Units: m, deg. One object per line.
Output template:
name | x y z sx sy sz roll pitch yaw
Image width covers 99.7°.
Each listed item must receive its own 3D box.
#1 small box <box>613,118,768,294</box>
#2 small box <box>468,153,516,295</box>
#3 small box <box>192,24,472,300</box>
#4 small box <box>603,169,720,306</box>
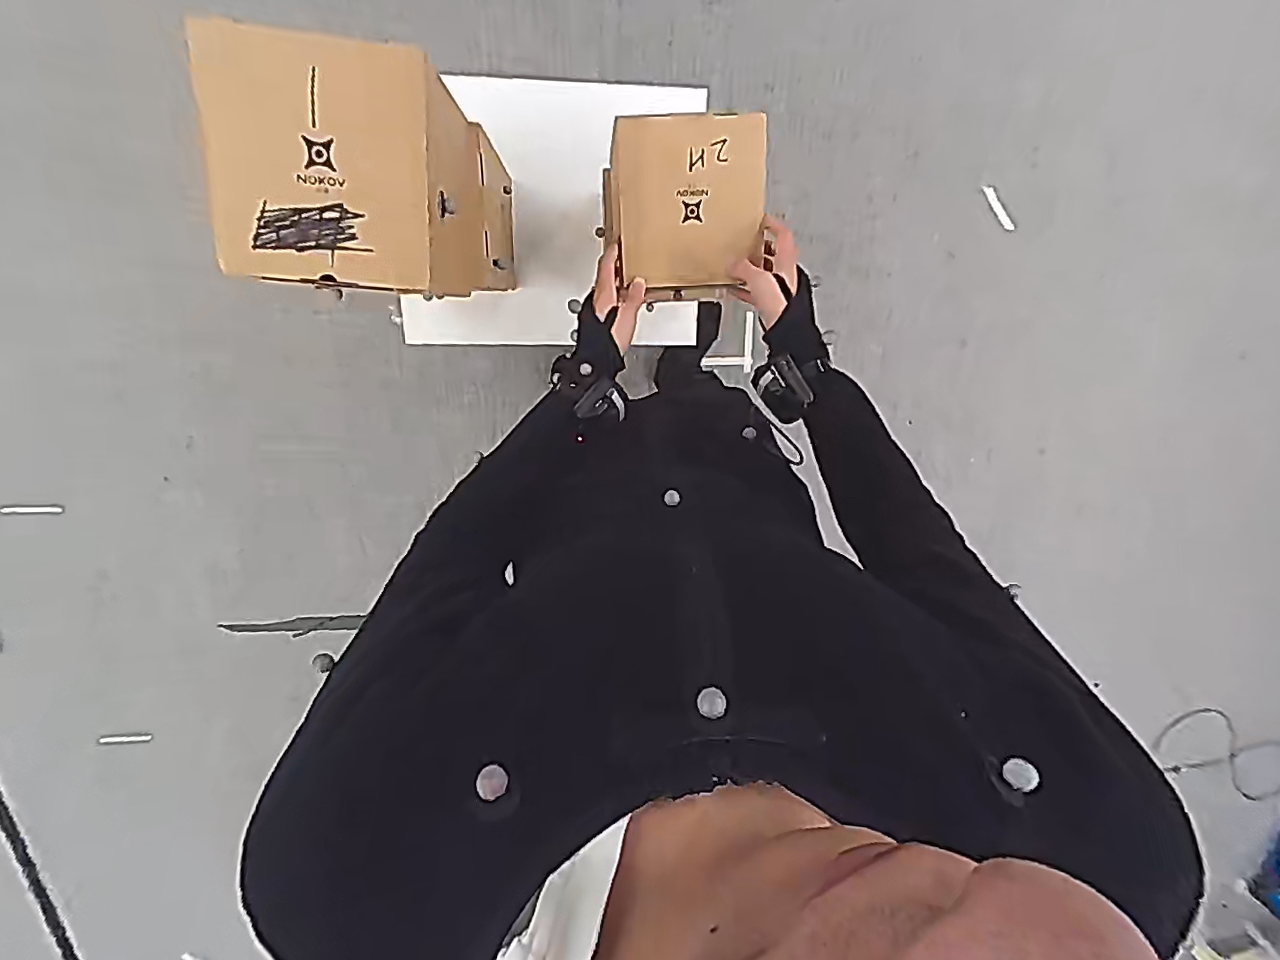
small box | 0.052 -0.328 0.677 0.168 0.176 0.179 -3 108 -4
small box | -0.278 -0.371 0.805 0.168 0.176 0.179 -1 108 -6
small box | -0.253 -0.263 0.495 0.168 0.176 0.179 3 107 -7
small box | 0.028 -0.364 0.837 0.168 0.176 0.179 -3 108 -4
